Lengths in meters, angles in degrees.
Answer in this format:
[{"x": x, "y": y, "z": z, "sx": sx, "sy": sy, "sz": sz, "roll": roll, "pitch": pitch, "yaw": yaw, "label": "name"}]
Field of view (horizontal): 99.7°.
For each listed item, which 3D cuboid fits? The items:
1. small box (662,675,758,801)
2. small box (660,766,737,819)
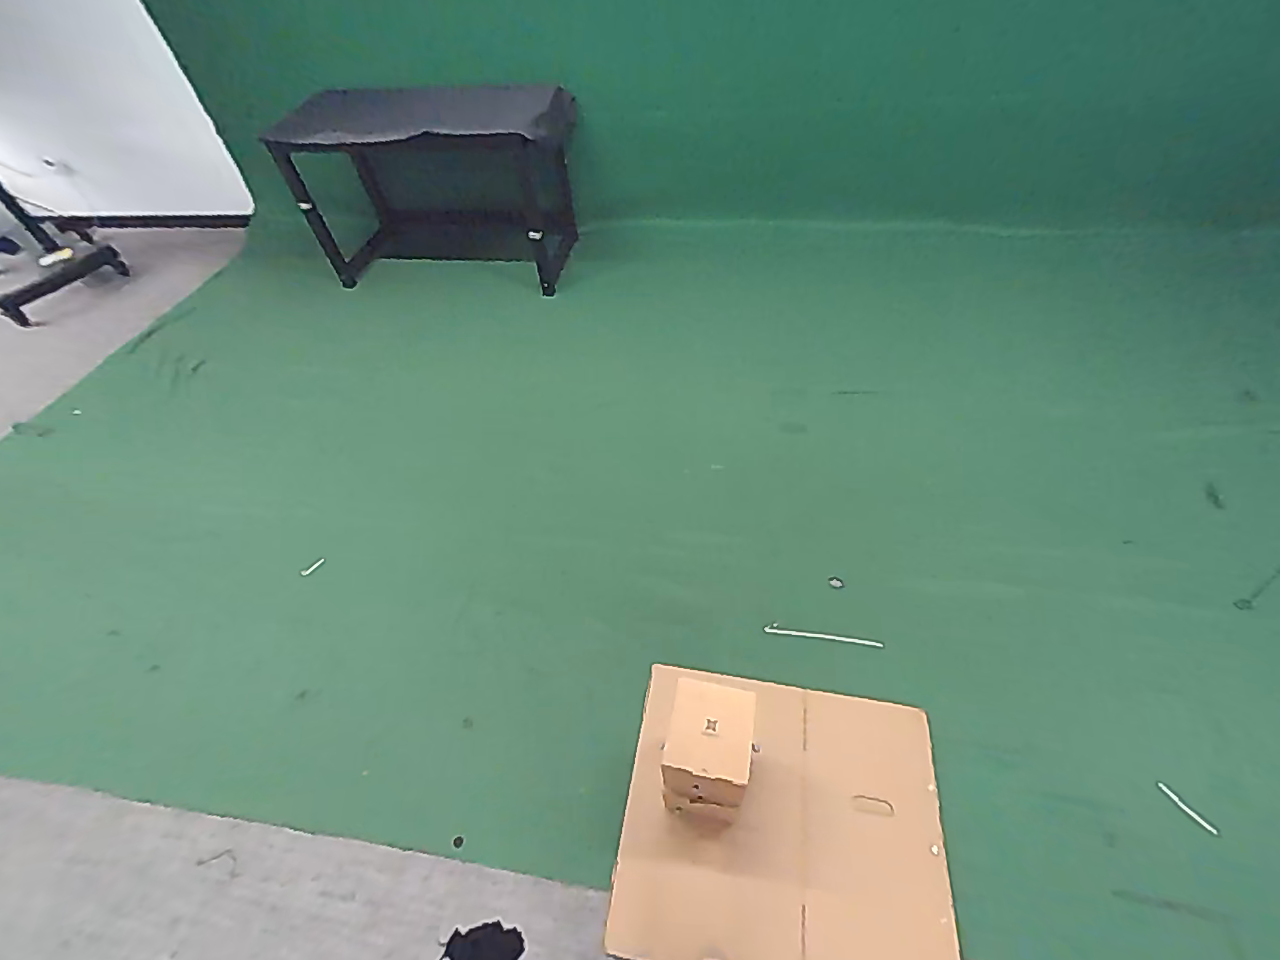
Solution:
[{"x": 0.143, "y": 0.533, "z": 1.115, "sx": 0.168, "sy": 0.176, "sz": 0.179, "roll": 8, "pitch": 51, "yaw": 12, "label": "small box"}, {"x": 0.146, "y": 0.648, "z": 1.231, "sx": 0.168, "sy": 0.176, "sz": 0.179, "roll": 7, "pitch": 50, "yaw": 12, "label": "small box"}]
